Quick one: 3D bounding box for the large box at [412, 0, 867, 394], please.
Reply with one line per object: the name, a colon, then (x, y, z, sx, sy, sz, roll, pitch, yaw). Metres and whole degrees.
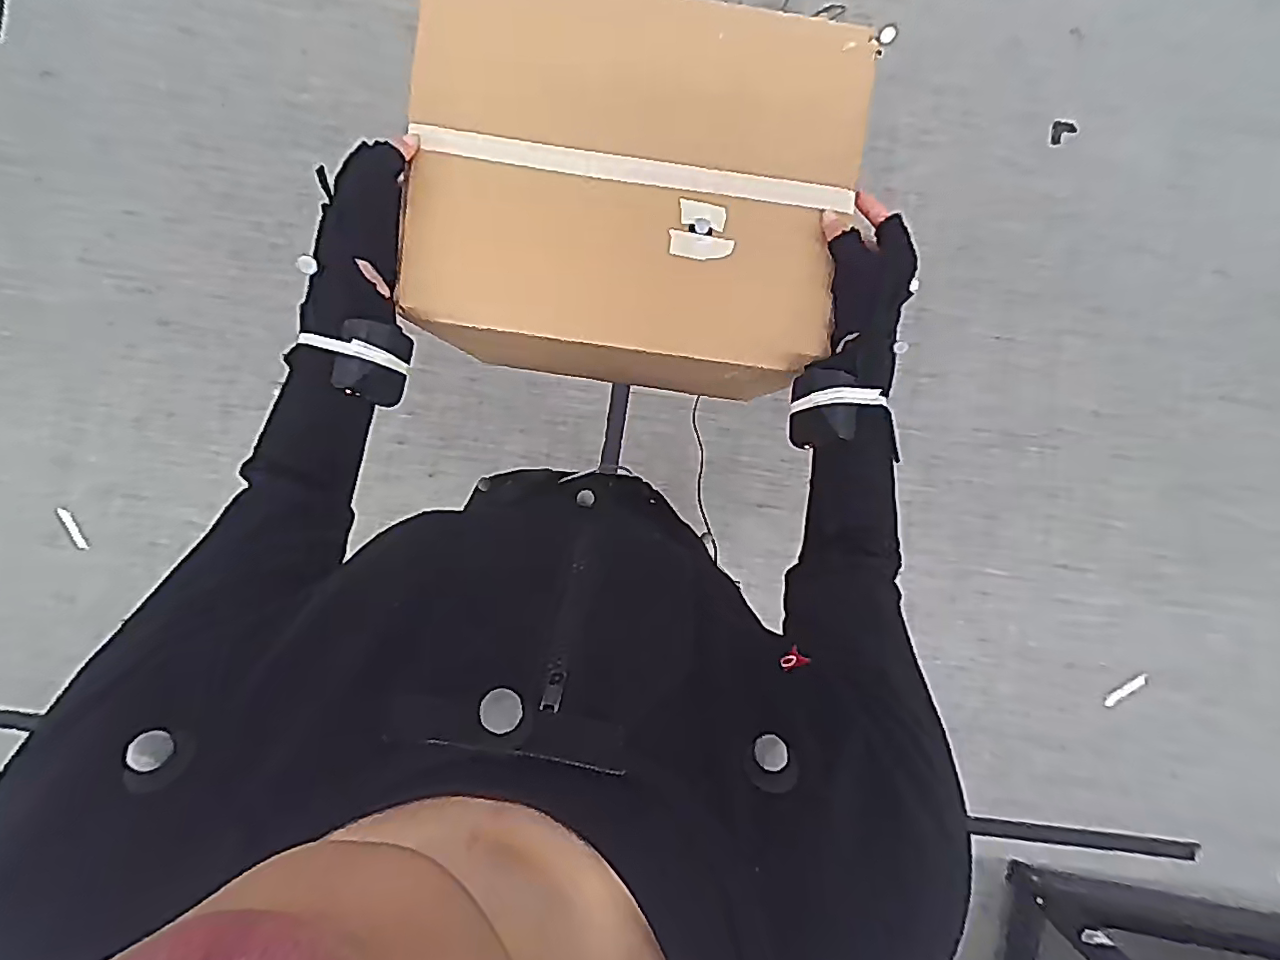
large box: (-0.008, -0.292, 0.654, 0.408, 0.320, 0.320, 8, 95, -3)
